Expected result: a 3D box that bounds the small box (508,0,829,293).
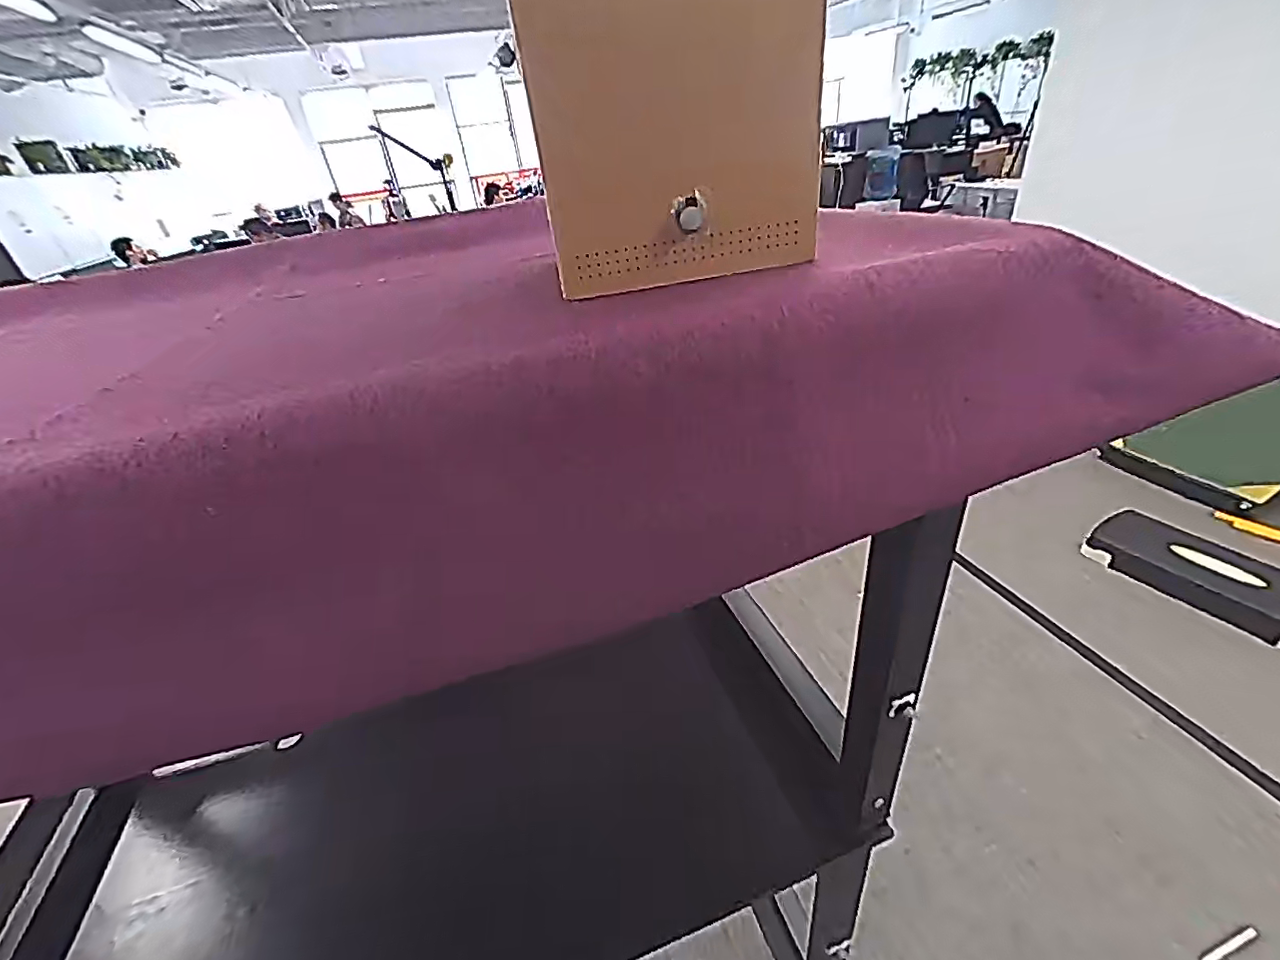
[{"bbox_3d":[0.013,-0.246,0.386,0.179,0.176,0.168,-11,32,-4],"label":"small box"}]
